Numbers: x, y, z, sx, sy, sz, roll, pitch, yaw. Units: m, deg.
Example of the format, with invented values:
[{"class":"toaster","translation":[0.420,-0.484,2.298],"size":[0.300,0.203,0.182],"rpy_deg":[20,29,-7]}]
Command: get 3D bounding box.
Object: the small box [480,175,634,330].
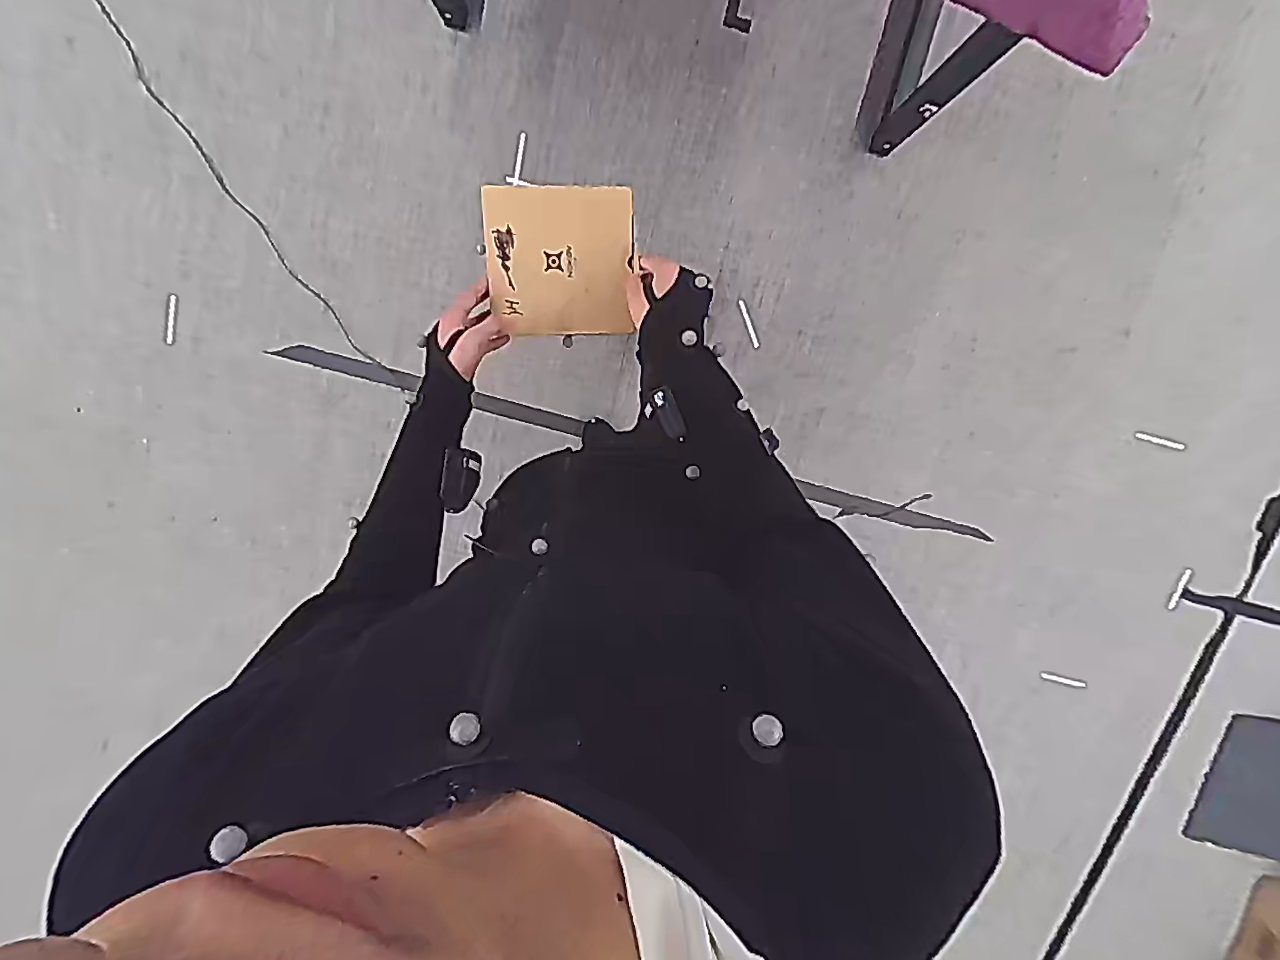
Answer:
[{"class":"small box","translation":[-0.103,-0.285,0.711],"size":[0.179,0.176,0.168],"rpy_deg":[-2,105,-5]}]
